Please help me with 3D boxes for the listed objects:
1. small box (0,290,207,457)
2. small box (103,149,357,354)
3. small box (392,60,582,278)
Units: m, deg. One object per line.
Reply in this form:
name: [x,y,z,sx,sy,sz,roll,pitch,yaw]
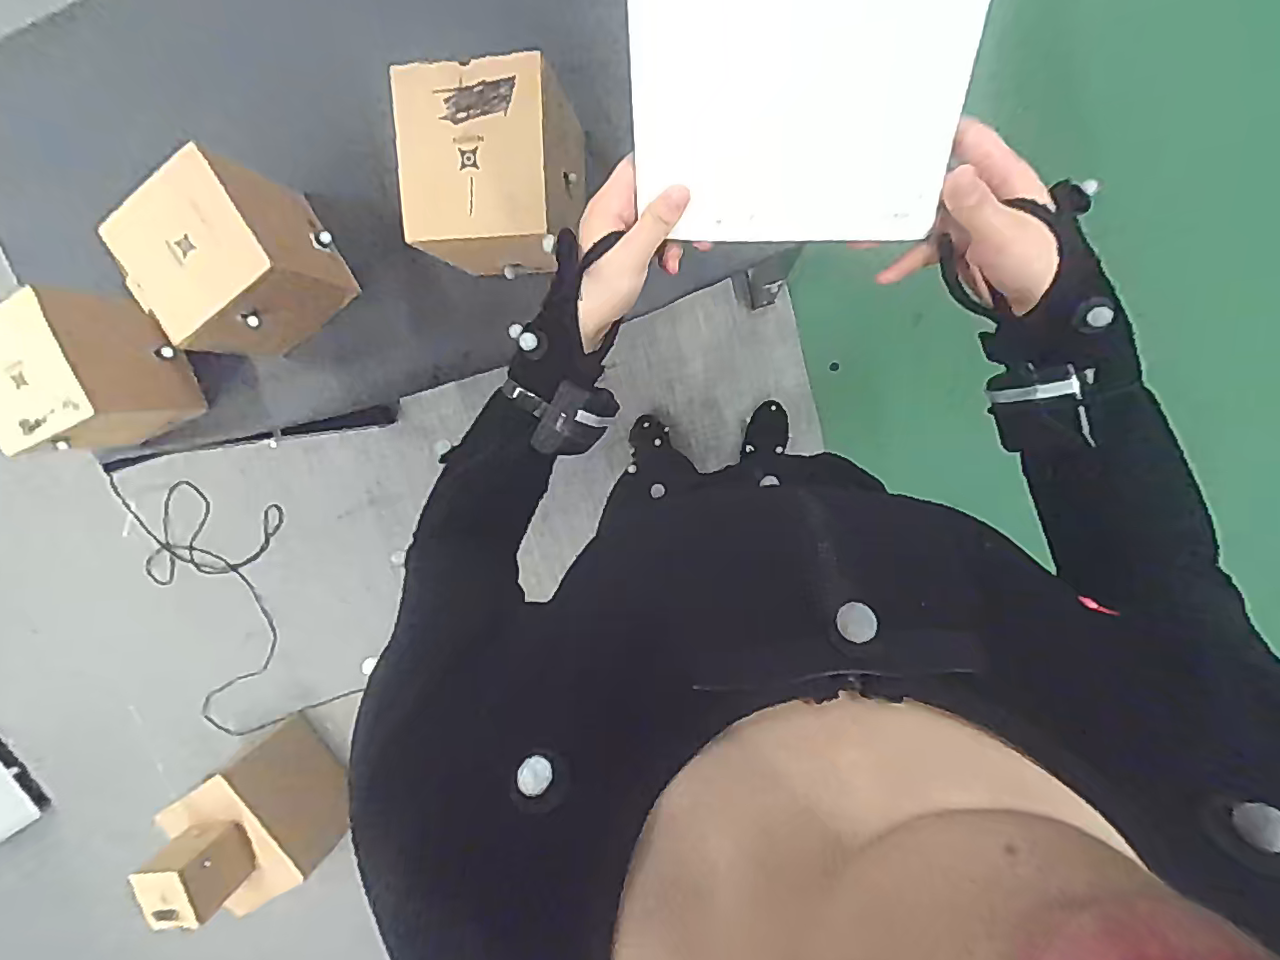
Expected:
small box: [-0.793,-0.147,0.782,0.168,0.176,0.179,-20,96,11]
small box: [-0.528,-0.283,0.721,0.179,0.176,0.168,-31,94,11]
small box: [-0.170,-0.354,0.650,0.168,0.176,0.179,1,99,9]
